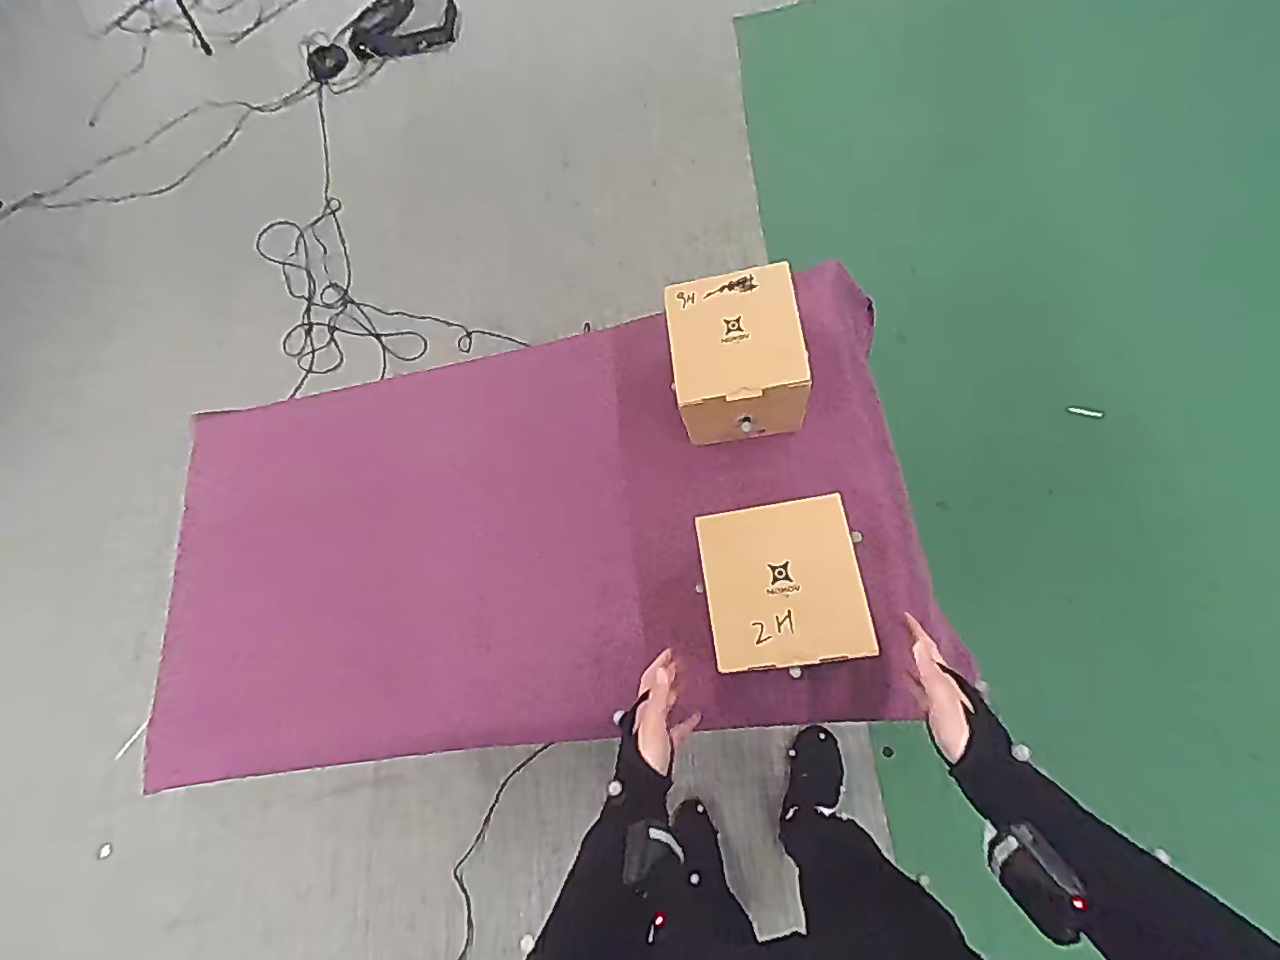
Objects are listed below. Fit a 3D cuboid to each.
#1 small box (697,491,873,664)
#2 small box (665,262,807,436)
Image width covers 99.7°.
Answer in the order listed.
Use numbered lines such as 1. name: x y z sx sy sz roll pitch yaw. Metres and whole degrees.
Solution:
1. small box: 0.169 0.129 0.665 0.168 0.176 0.179 -10 71 11
2. small box: 0.136 -0.170 0.764 0.168 0.176 0.179 -8 75 10
